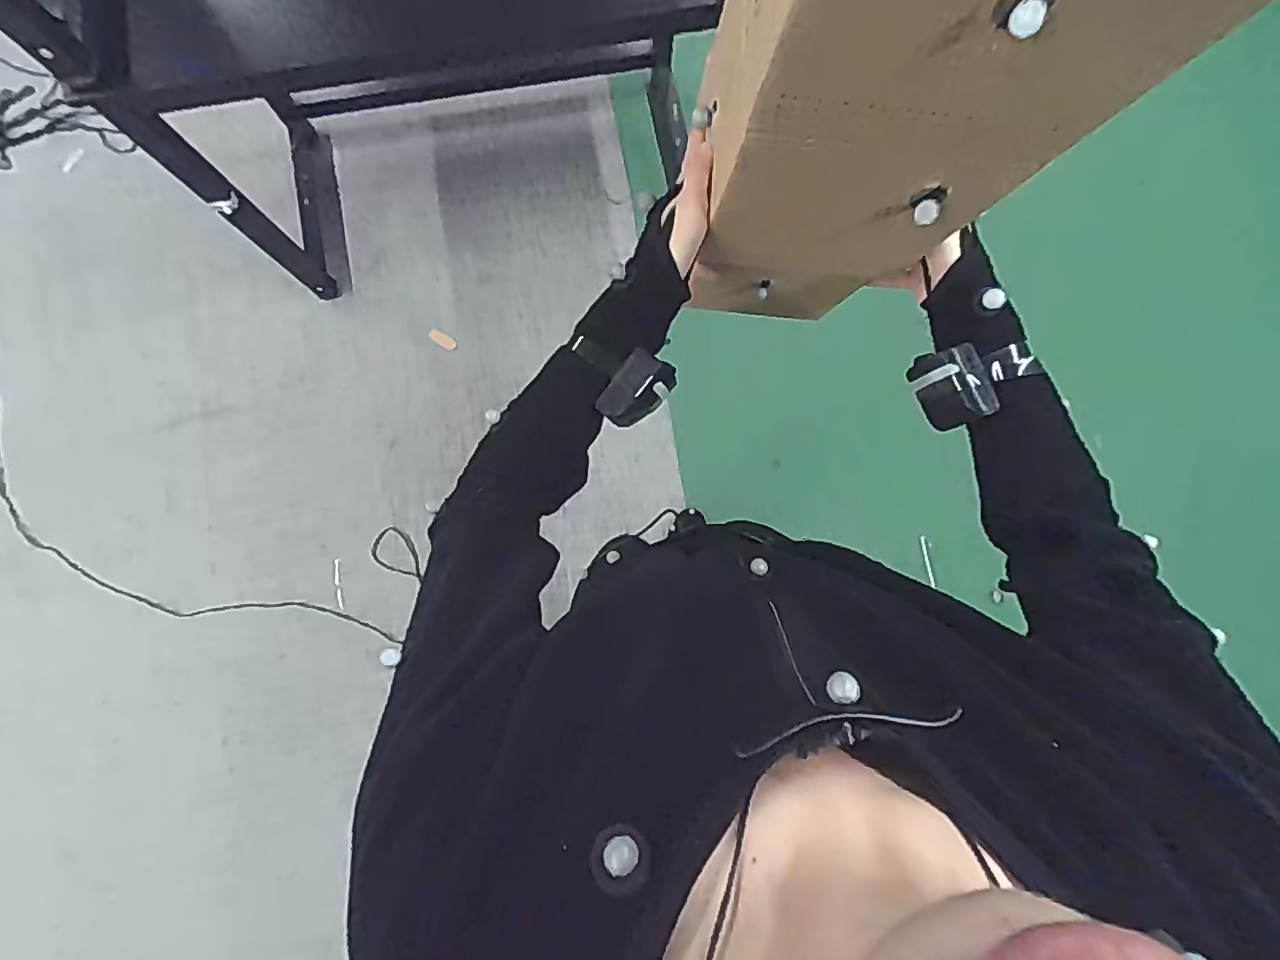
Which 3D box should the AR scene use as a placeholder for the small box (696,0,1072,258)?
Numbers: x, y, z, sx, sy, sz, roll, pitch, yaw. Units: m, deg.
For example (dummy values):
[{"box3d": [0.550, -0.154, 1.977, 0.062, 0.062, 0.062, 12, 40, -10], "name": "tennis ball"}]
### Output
[{"box3d": [0.143, -0.268, 0.366, 0.179, 0.176, 0.168, 4, 88, -4], "name": "small box"}]
